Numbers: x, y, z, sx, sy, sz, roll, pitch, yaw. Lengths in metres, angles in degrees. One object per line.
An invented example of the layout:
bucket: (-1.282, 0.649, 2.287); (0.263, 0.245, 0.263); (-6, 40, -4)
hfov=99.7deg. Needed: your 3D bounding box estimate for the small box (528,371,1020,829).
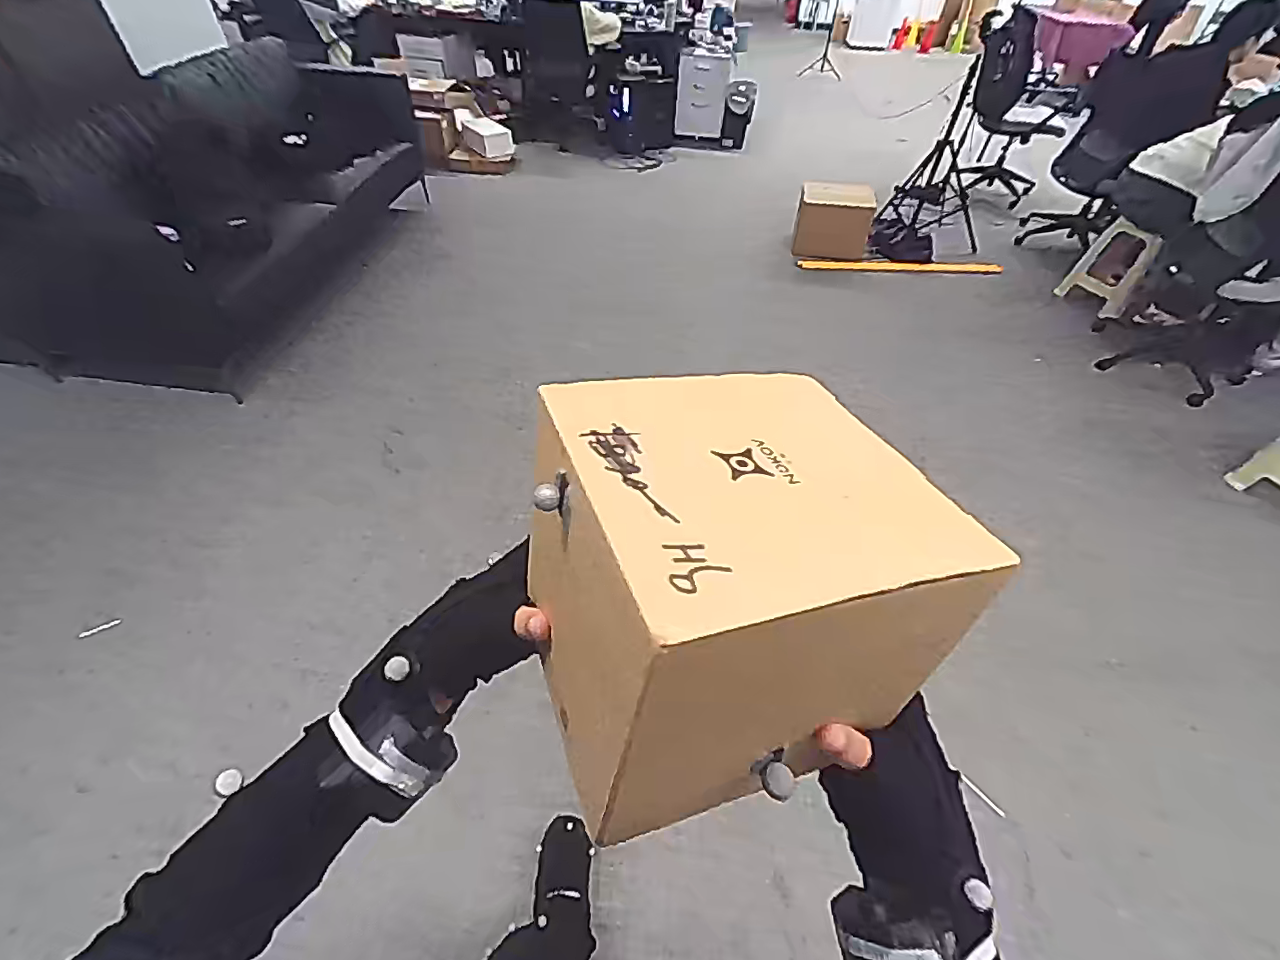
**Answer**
small box: (0.044, 0.055, 0.303); (0.179, 0.176, 0.168); (-4, 40, -23)
